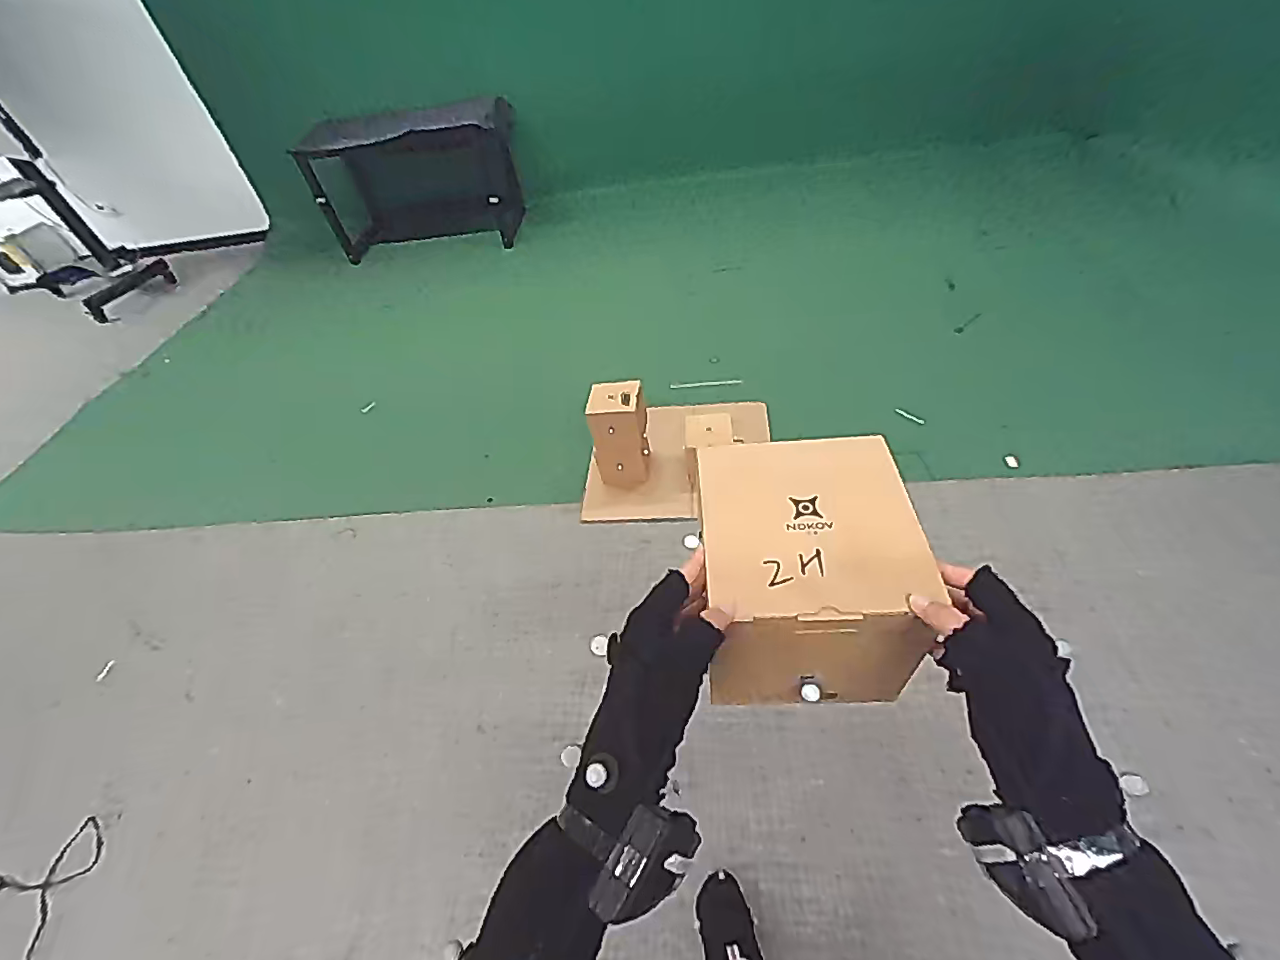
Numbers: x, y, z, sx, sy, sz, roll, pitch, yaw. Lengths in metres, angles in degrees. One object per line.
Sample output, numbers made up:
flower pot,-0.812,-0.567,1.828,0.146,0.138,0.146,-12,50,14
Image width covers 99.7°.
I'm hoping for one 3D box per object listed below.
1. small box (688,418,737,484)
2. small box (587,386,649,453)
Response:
small box,0.263,-0.105,1.967,0.168,0.176,0.179,-4,47,8
small box,-0.068,-0.210,1.898,0.179,0.176,0.168,-2,46,12
